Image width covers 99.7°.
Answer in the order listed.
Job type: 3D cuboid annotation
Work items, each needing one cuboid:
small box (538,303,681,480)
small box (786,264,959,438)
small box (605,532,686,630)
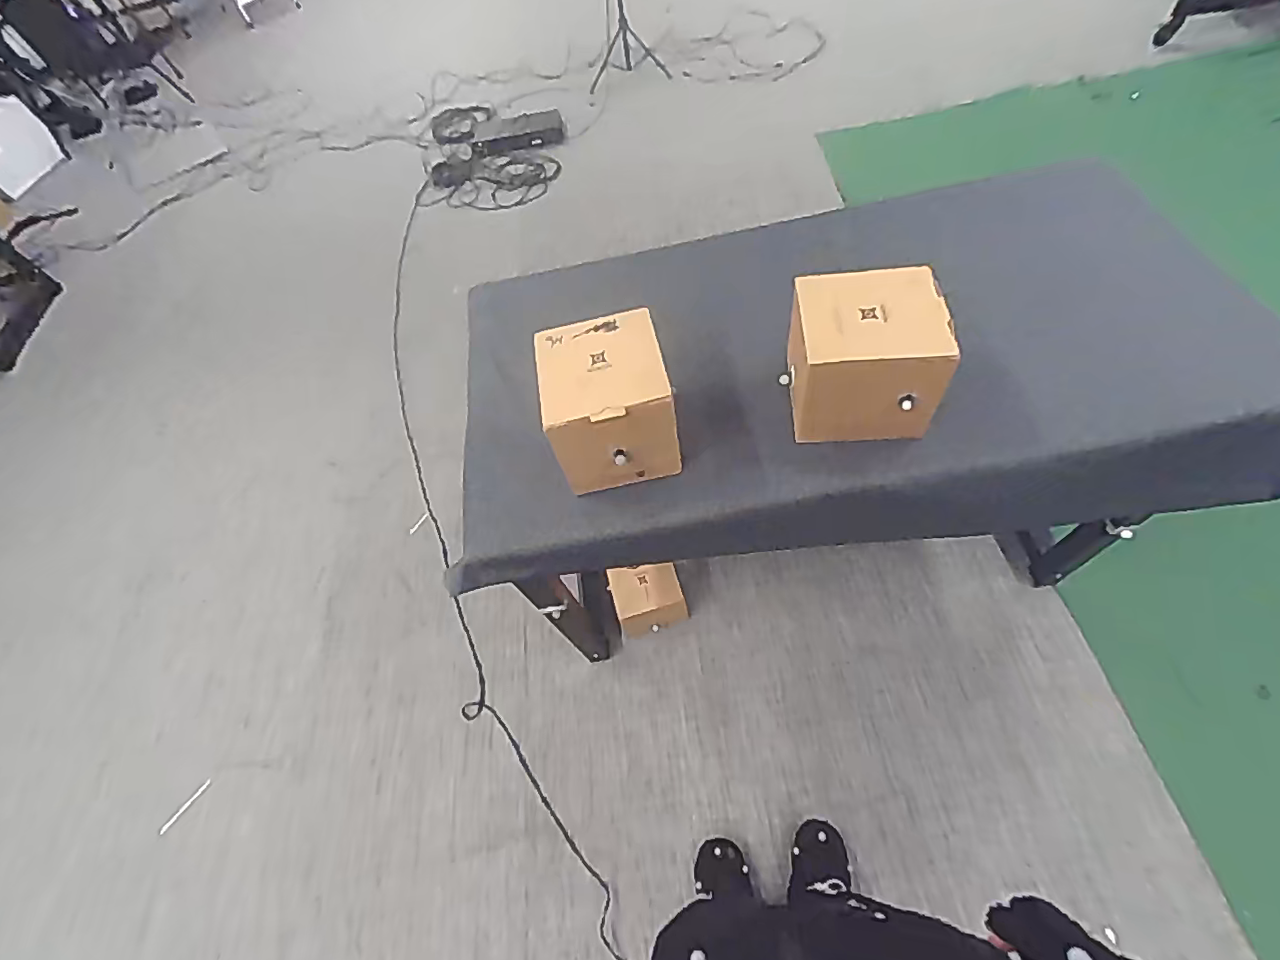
[{"bbox_3d":[-0.039,-0.116,0.776,0.168,0.176,0.179,-12,57,1],"label":"small box"},{"bbox_3d":[0.308,-0.173,0.758,0.179,0.176,0.168,-3,57,9],"label":"small box"},{"bbox_3d":[0.016,0.265,1.398,0.168,0.176,0.179,-17,59,-1],"label":"small box"}]
